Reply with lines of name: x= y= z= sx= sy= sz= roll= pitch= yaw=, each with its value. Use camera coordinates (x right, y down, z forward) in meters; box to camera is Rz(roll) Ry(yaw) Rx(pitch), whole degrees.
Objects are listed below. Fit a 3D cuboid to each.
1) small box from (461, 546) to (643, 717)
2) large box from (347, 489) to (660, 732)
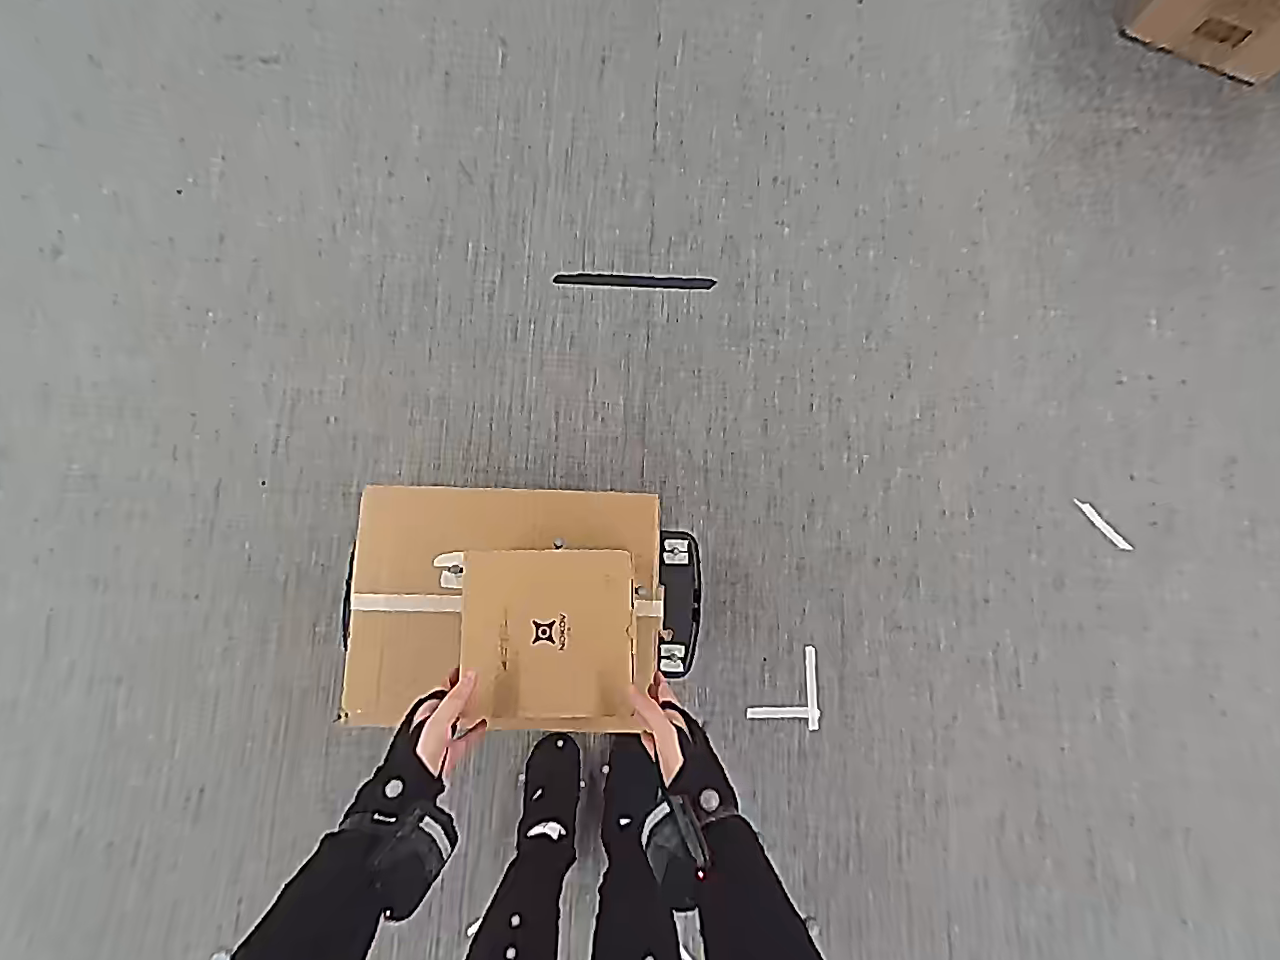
small box: x=-0.088 y=0.160 z=0.616 sx=0.179 sy=0.176 sz=0.168 roll=1 pitch=81 yaw=-1
large box: x=-0.173 y=0.190 z=0.858 sx=0.408 sy=0.320 sz=0.320 roll=2 pitch=80 yaw=0
